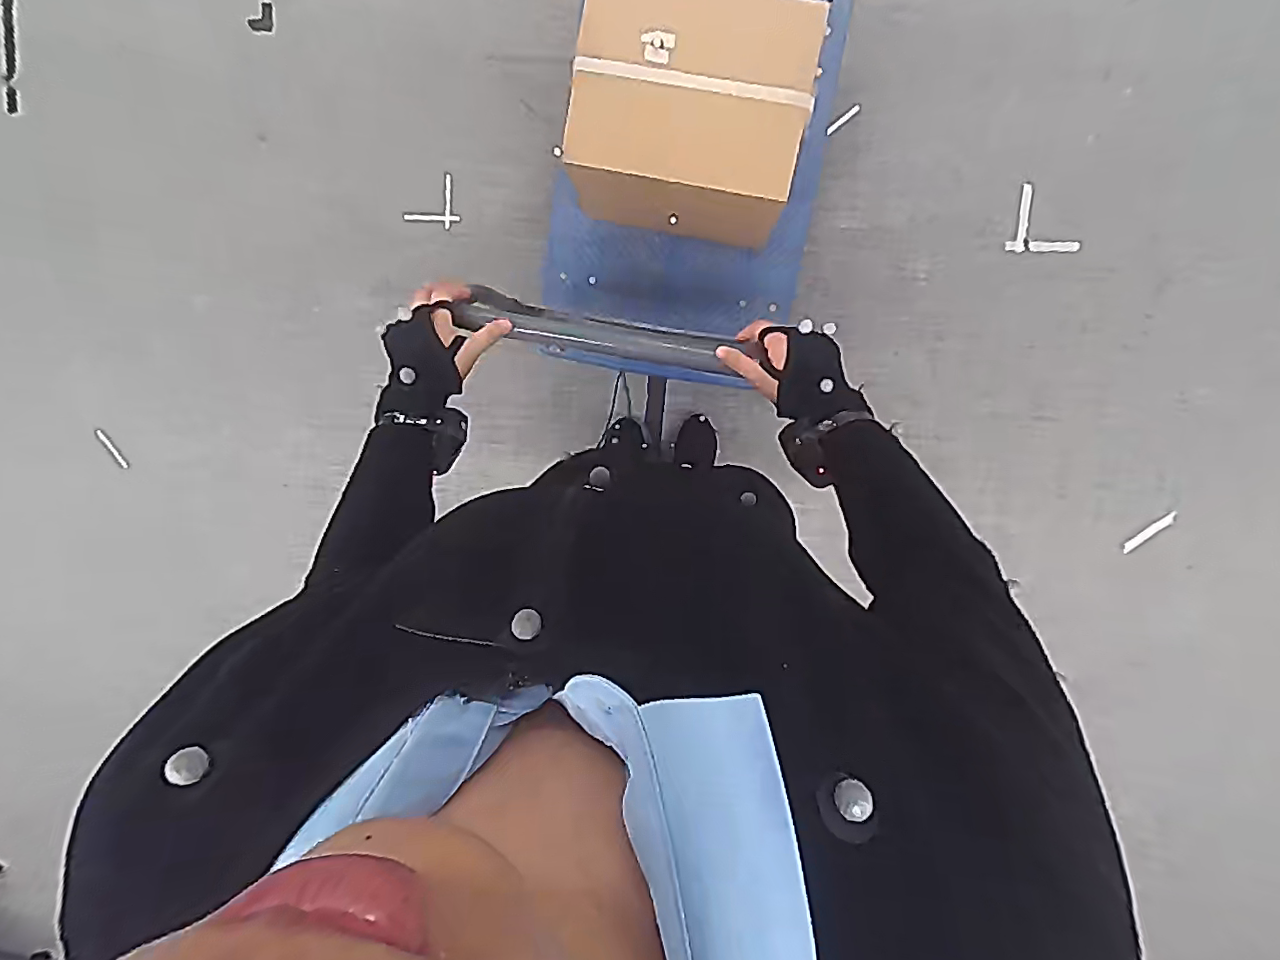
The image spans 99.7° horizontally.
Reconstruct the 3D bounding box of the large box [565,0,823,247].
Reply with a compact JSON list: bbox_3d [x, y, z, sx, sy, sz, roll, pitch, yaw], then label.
[{"bbox_3d":[0.101,-0.691,1.077,0.408,0.320,0.320,12,98,4],"label":"large box"}]
